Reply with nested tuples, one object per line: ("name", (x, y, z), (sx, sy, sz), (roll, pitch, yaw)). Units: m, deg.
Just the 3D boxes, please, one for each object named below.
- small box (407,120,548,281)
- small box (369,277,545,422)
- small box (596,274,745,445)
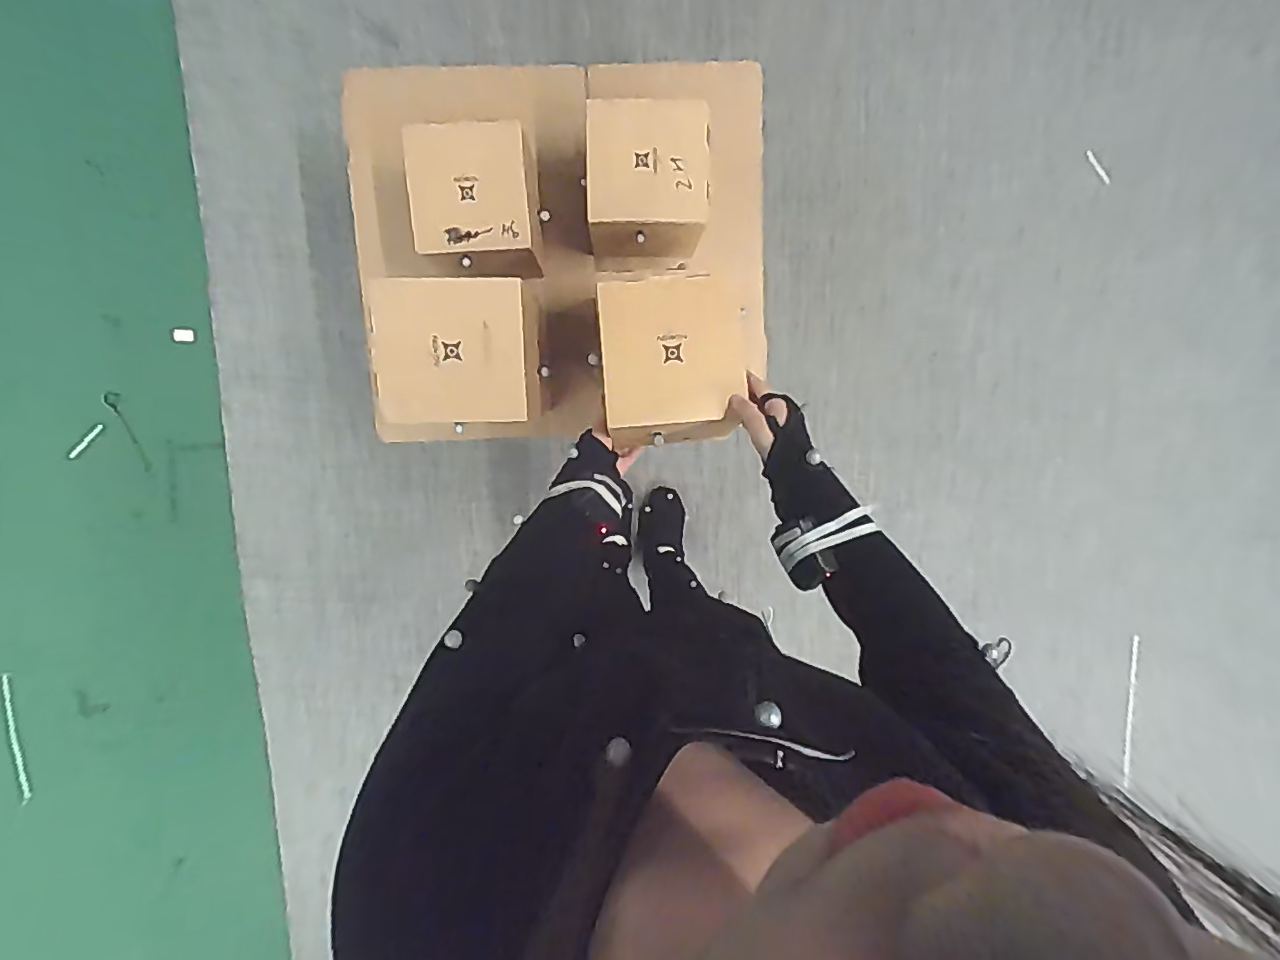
("small box", (-0.240, -0.418, 0.836), (0.168, 0.176, 0.179), (-4, 96, 0))
("small box", (-0.224, -0.160, 0.705), (0.179, 0.176, 0.168), (-1, 98, -2))
("small box", (0.037, -0.142, 0.700), (0.168, 0.176, 0.179), (-4, 85, 0))
